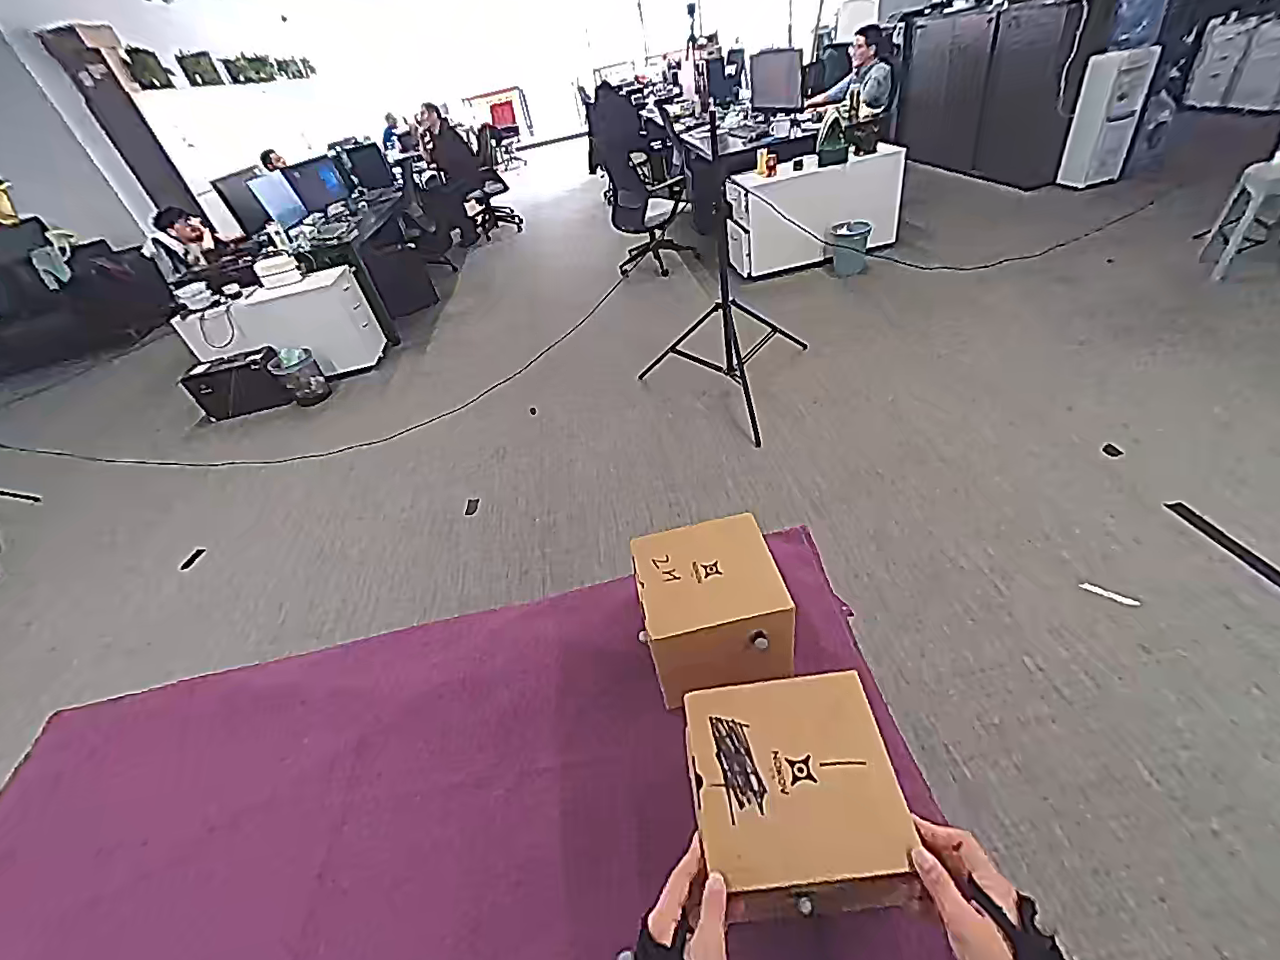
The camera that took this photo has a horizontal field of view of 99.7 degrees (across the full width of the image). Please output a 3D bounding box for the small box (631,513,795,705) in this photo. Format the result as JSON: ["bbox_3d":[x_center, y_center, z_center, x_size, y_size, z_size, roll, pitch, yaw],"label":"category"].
[{"bbox_3d":[0.095,0.175,0.729,0.179,0.176,0.168,-13,39,0],"label":"small box"}]

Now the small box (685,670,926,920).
[{"bbox_3d":[0.148,0.314,0.535,0.179,0.176,0.168,-10,44,4],"label":"small box"}]
